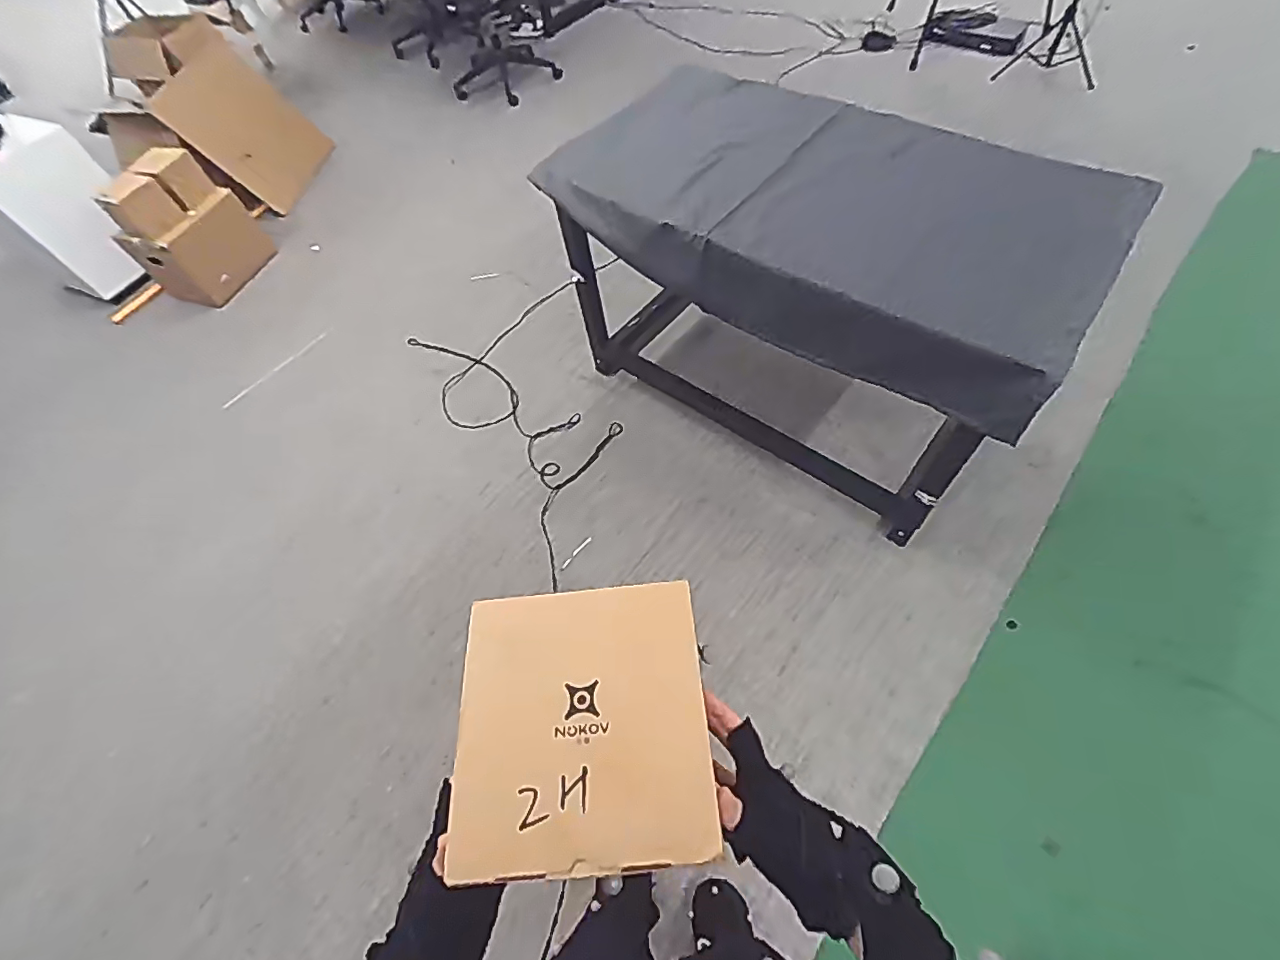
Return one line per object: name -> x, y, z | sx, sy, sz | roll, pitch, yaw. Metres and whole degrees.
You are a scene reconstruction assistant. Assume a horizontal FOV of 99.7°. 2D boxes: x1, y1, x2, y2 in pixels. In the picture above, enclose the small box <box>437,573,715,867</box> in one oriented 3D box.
small box -> -0.035, 0.192, 0.424 | 0.168, 0.176, 0.179 | -6, 57, 3
